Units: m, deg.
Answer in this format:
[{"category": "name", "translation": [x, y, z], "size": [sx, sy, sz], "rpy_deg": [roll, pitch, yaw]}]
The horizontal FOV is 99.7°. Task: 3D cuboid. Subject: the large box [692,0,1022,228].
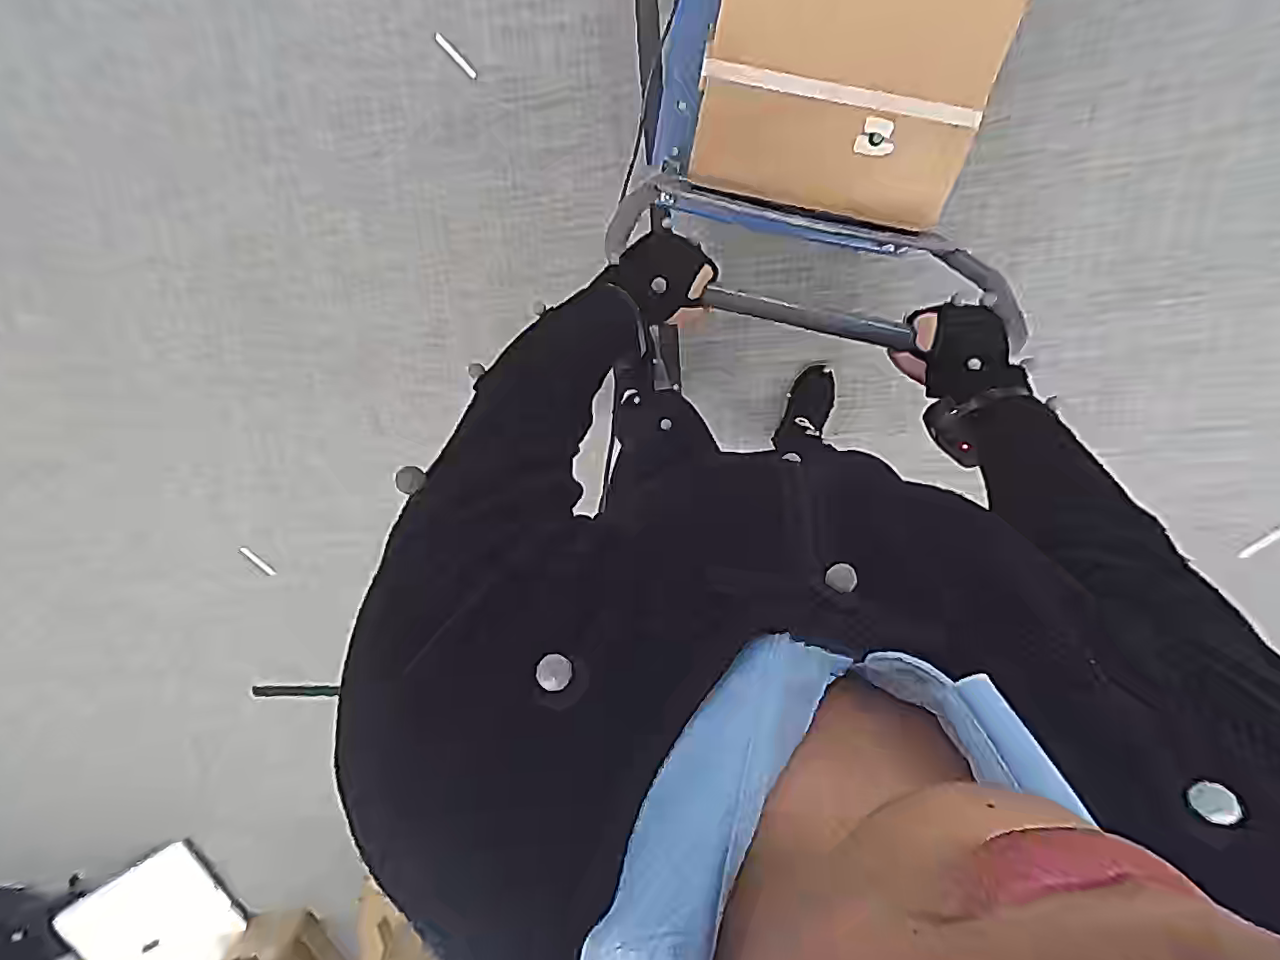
[{"category": "large box", "translation": [0.320, -0.652, 0.936], "size": [0.408, 0.320, 0.320], "rpy_deg": [13, 122, 1]}]
